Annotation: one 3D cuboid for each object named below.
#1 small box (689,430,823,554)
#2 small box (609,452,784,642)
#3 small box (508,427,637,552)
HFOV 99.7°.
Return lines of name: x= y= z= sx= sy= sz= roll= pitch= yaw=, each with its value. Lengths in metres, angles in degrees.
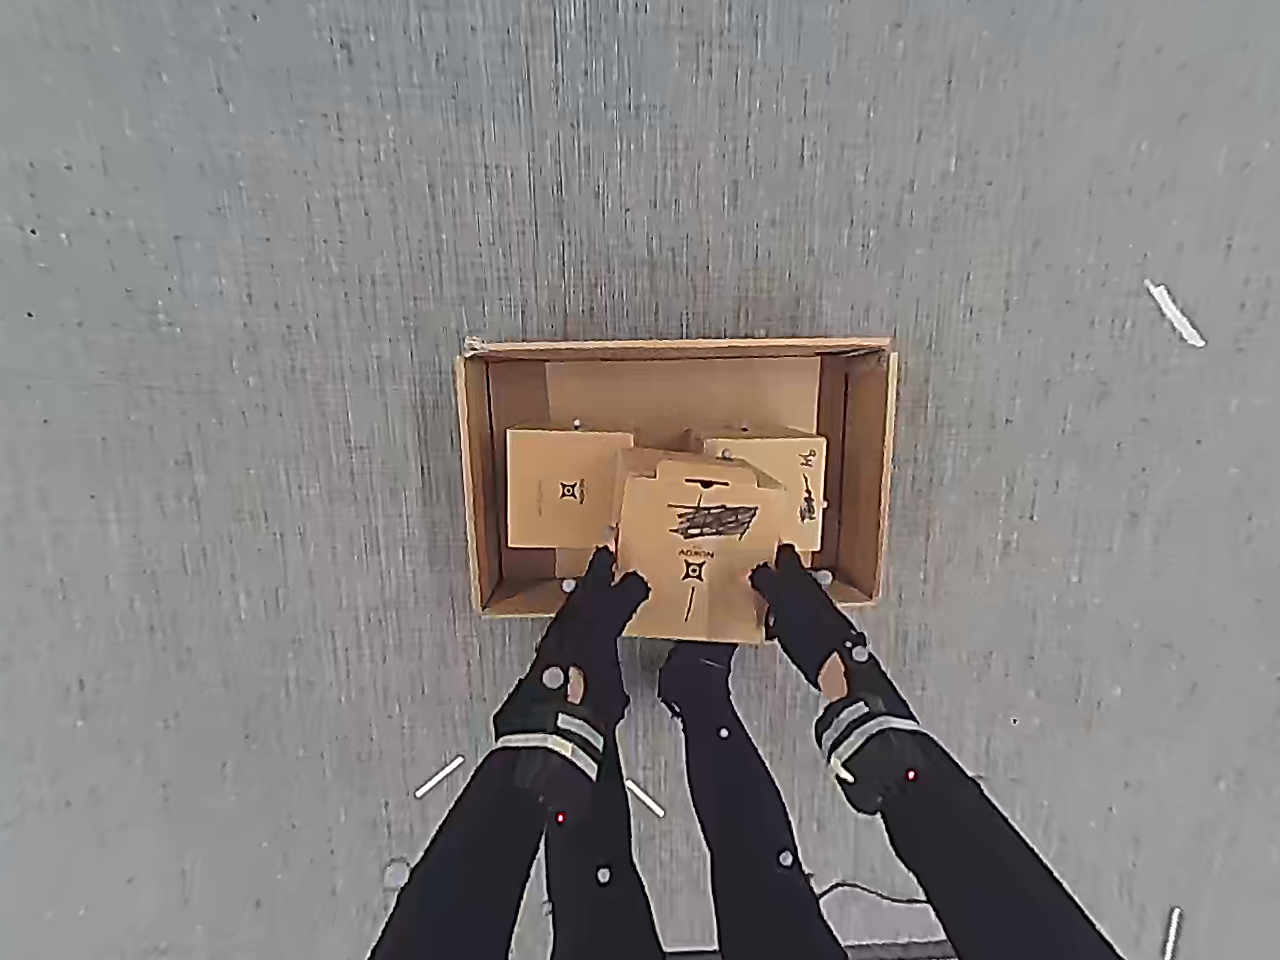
small box: x=0.167 y=0.012 z=0.842 sx=0.179 sy=0.176 sz=0.168 roll=-1 pitch=100 yaw=-1
small box: x=0.052 y=0.067 z=0.637 sx=0.168 sy=0.176 sz=0.179 roll=5 pitch=102 yaw=-5
small box: x=-0.100 y=0.006 z=0.824 sx=0.179 sy=0.176 sz=0.168 roll=1 pitch=99 yaw=-4
